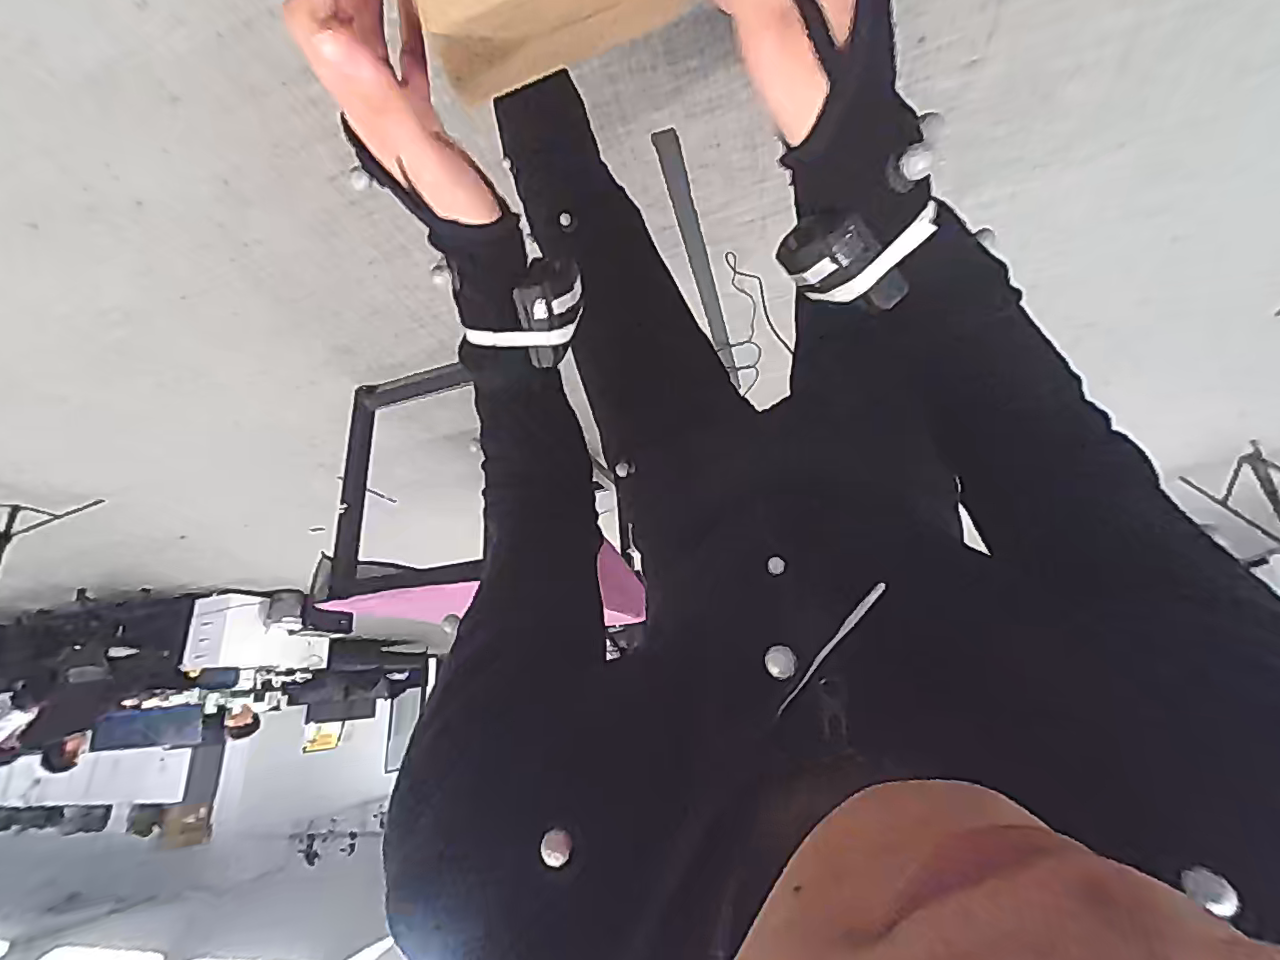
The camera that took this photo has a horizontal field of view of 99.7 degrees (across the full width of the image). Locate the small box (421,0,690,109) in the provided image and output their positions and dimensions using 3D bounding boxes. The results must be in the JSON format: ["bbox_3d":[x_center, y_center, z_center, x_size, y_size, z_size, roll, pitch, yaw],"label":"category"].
[{"bbox_3d":[-0.053,-0.315,0.259,0.168,0.179,0.176,-26,118,-1],"label":"small box"}]
